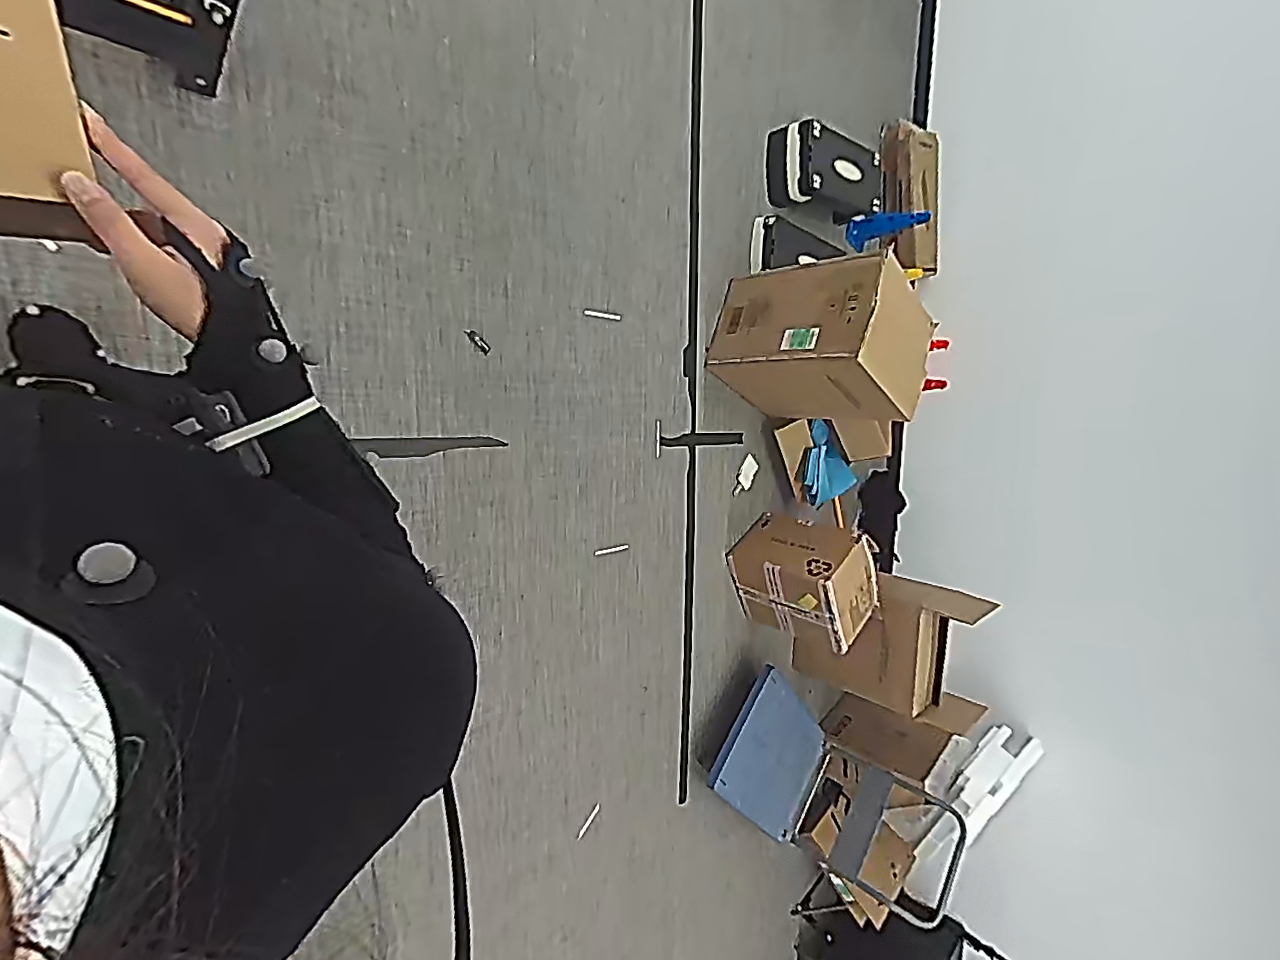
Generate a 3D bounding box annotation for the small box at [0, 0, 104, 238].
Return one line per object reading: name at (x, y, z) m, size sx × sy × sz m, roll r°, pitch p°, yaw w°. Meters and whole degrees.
small box at (-0.432, -0.237, 0.292) m, size 0.179 × 0.176 × 0.168 m, roll -16°, pitch 111°, yaw -46°
